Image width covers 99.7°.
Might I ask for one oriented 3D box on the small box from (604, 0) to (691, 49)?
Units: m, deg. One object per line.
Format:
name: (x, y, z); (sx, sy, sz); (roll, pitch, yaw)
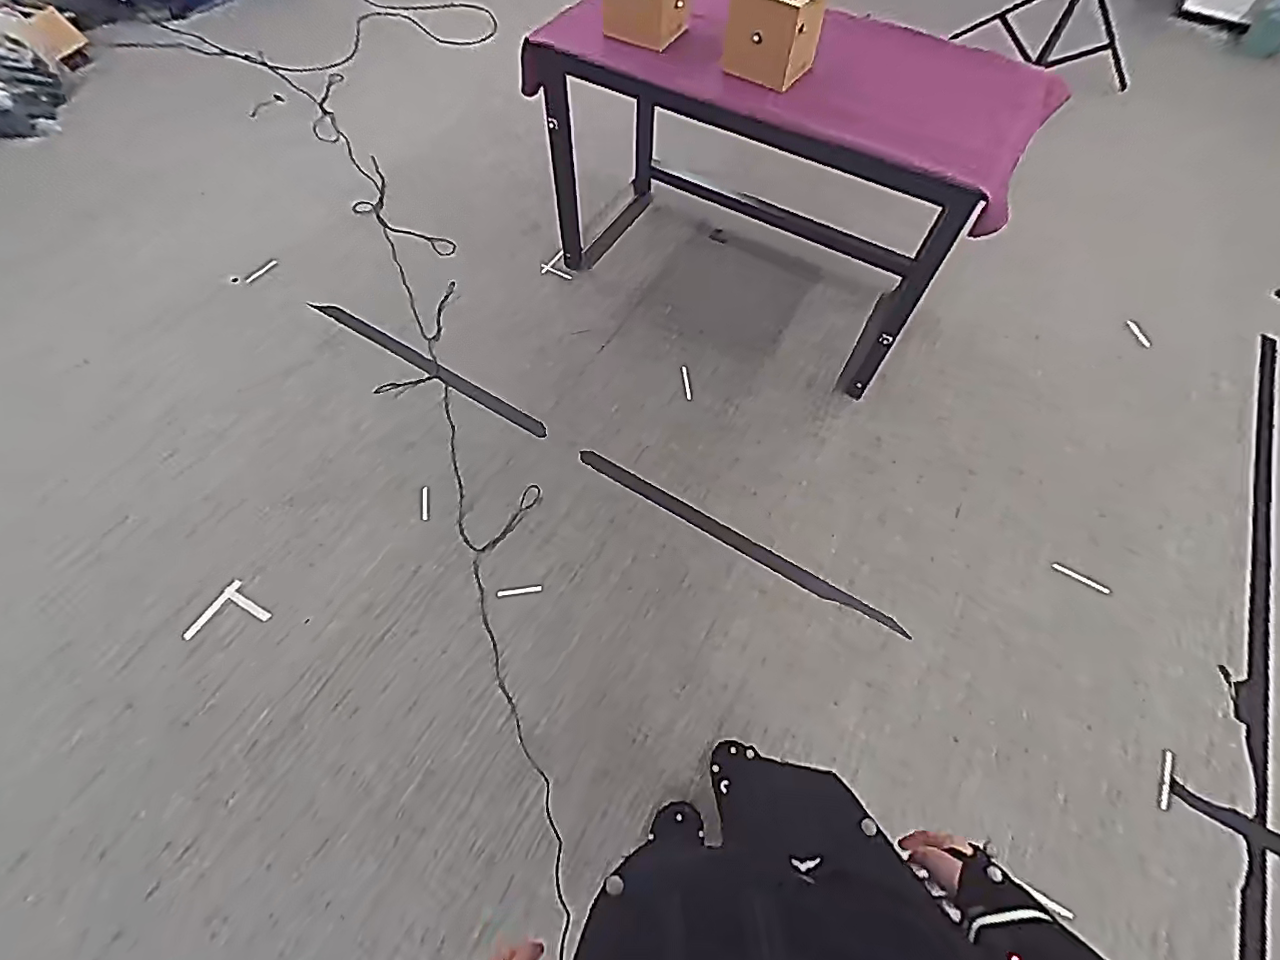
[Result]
small box: (0.023, -1.228, 1.362); (0.179, 0.176, 0.168); (26, 62, 12)
